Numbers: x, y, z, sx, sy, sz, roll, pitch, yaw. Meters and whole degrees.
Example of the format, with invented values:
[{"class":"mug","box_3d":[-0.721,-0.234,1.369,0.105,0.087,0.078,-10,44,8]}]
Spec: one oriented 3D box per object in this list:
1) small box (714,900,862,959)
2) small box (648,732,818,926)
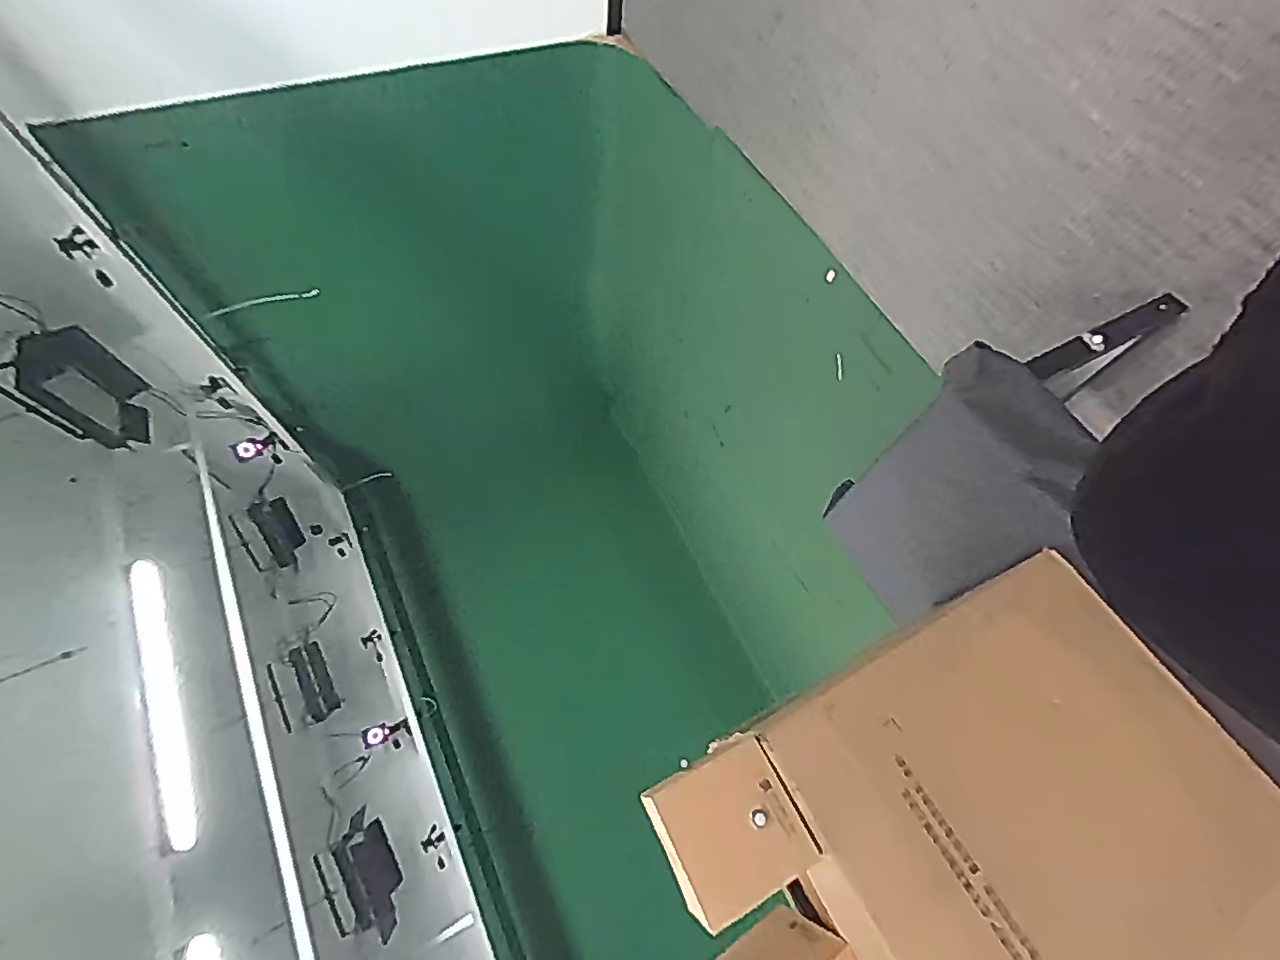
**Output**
[{"class":"small box","box_3d":[0.227,0.745,0.748,0.179,0.176,0.168,65,153,12]},{"class":"small box","box_3d":[0.127,0.487,0.781,0.168,0.176,0.179,60,162,24]}]
